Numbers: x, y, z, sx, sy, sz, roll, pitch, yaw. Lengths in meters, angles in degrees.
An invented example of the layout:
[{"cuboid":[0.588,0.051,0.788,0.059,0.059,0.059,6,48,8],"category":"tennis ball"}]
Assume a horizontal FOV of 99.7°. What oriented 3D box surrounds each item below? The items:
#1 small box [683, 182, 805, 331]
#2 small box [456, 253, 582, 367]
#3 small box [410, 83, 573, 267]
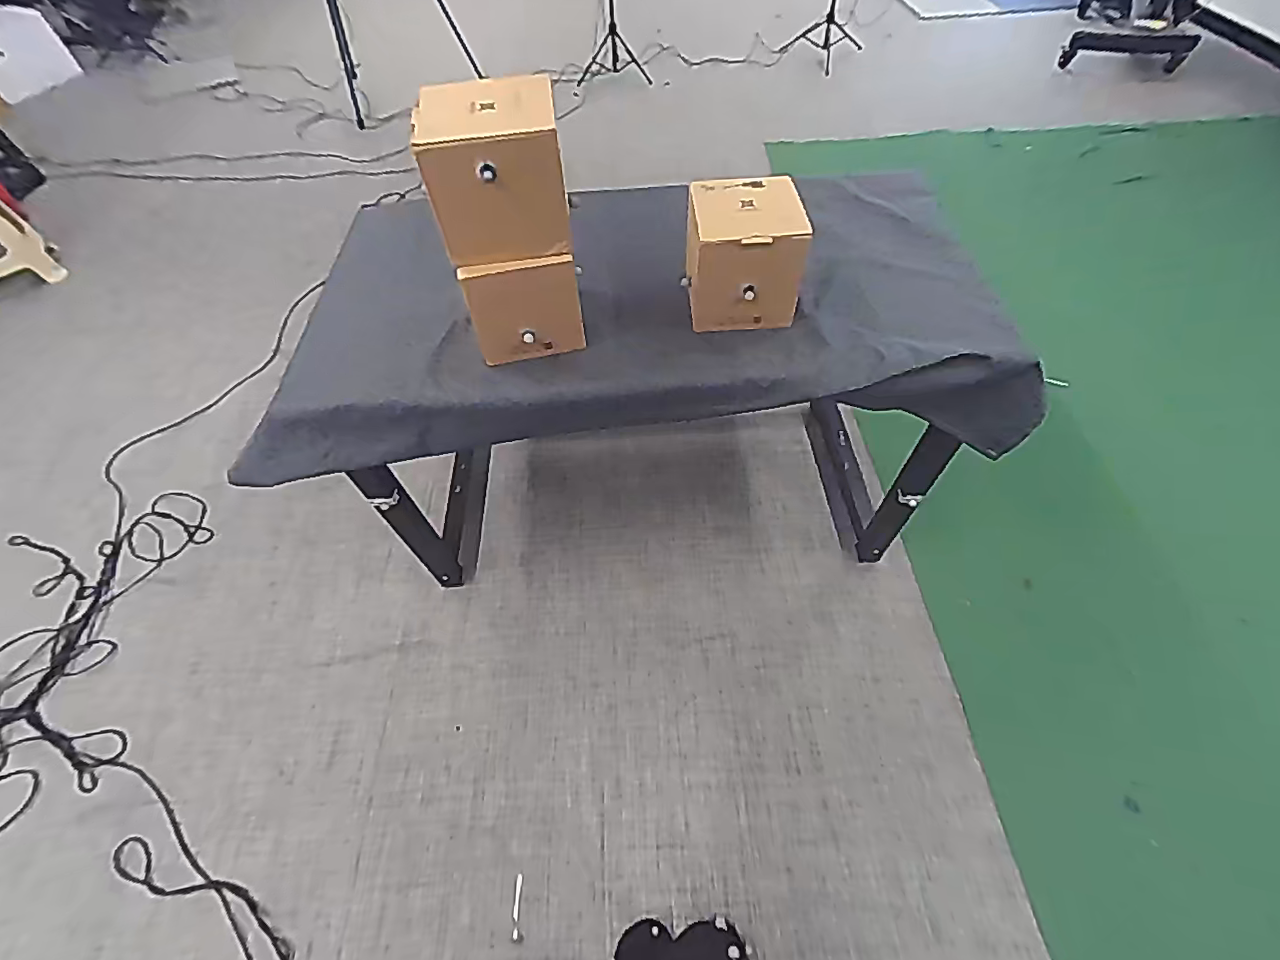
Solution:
[{"cuboid":[0.161,-0.364,0.901,0.168,0.176,0.179,-3,55,0],"category":"small box"},{"cuboid":[-0.194,-0.311,0.876,0.168,0.176,0.179,-12,56,-6],"category":"small box"},{"cuboid":[-0.196,-0.417,0.752,0.179,0.176,0.168,-8,56,-5],"category":"small box"}]
